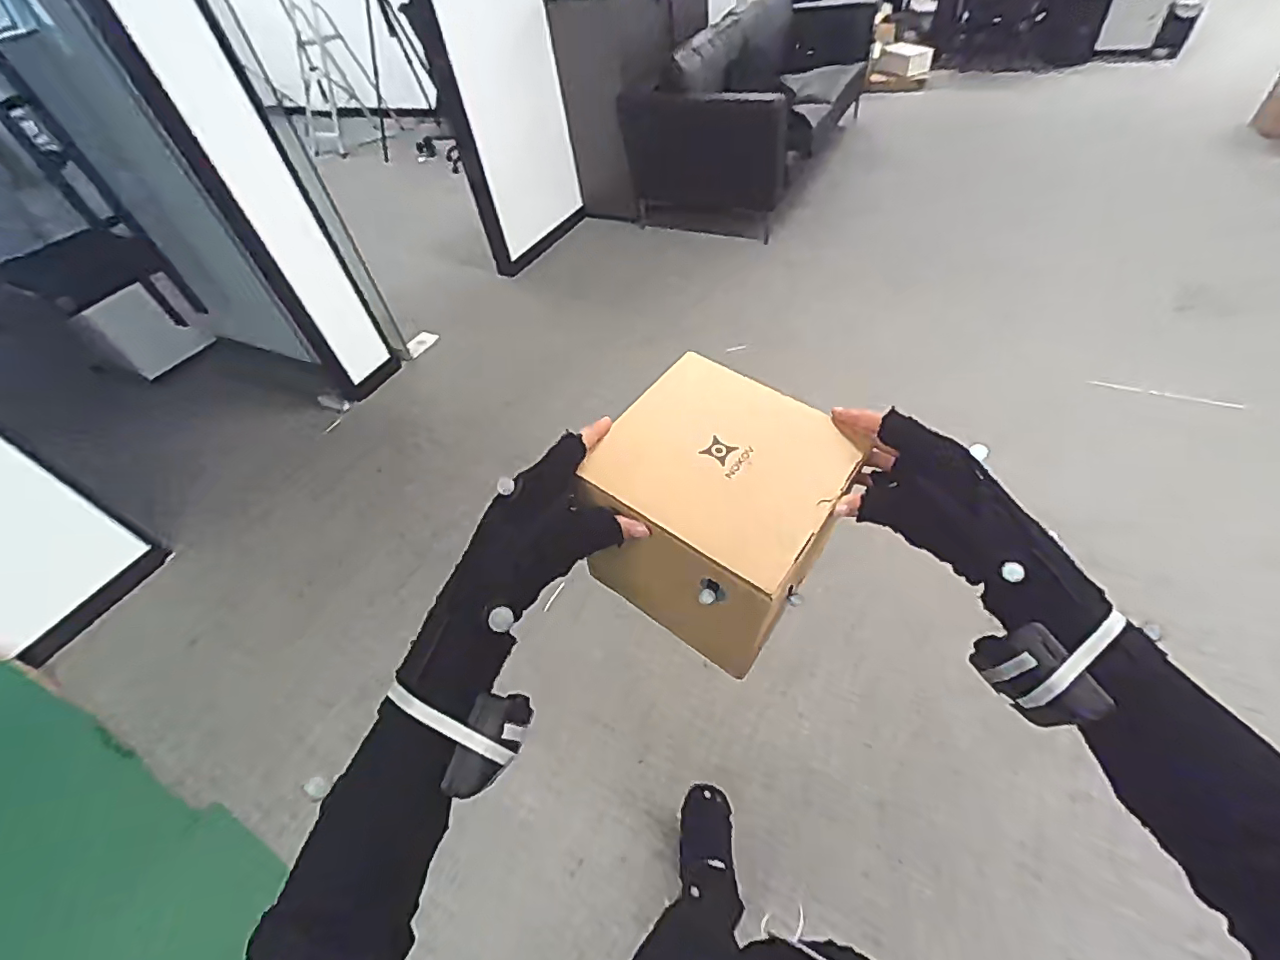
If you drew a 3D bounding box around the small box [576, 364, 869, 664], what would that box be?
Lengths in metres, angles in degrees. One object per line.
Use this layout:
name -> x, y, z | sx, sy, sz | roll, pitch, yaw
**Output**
small box -> 0.066, 0.034, 0.484 | 0.179, 0.176, 0.168 | 31, 60, 22
